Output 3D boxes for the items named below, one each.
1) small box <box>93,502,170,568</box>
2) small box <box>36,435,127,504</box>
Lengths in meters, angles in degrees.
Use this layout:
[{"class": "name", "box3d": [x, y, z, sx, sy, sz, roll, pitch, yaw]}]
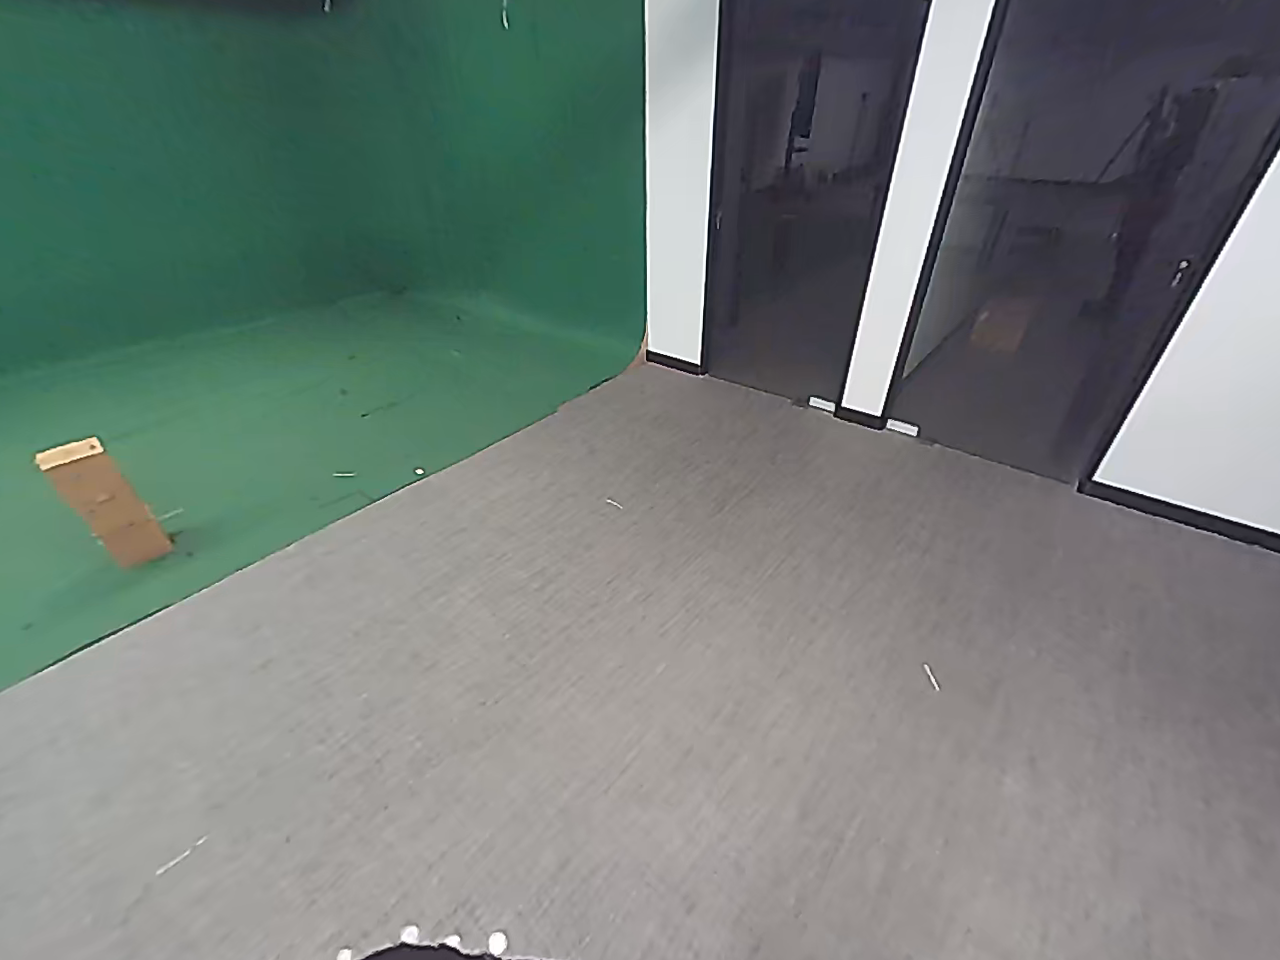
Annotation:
[{"class": "small box", "box3d": [-2.075, 0.227, 2.216, 0.168, 0.176, 0.179, 29, 44, 34]}, {"class": "small box", "box3d": [-2.085, -0.037, 2.021, 0.168, 0.176, 0.179, 27, 44, 34]}]
